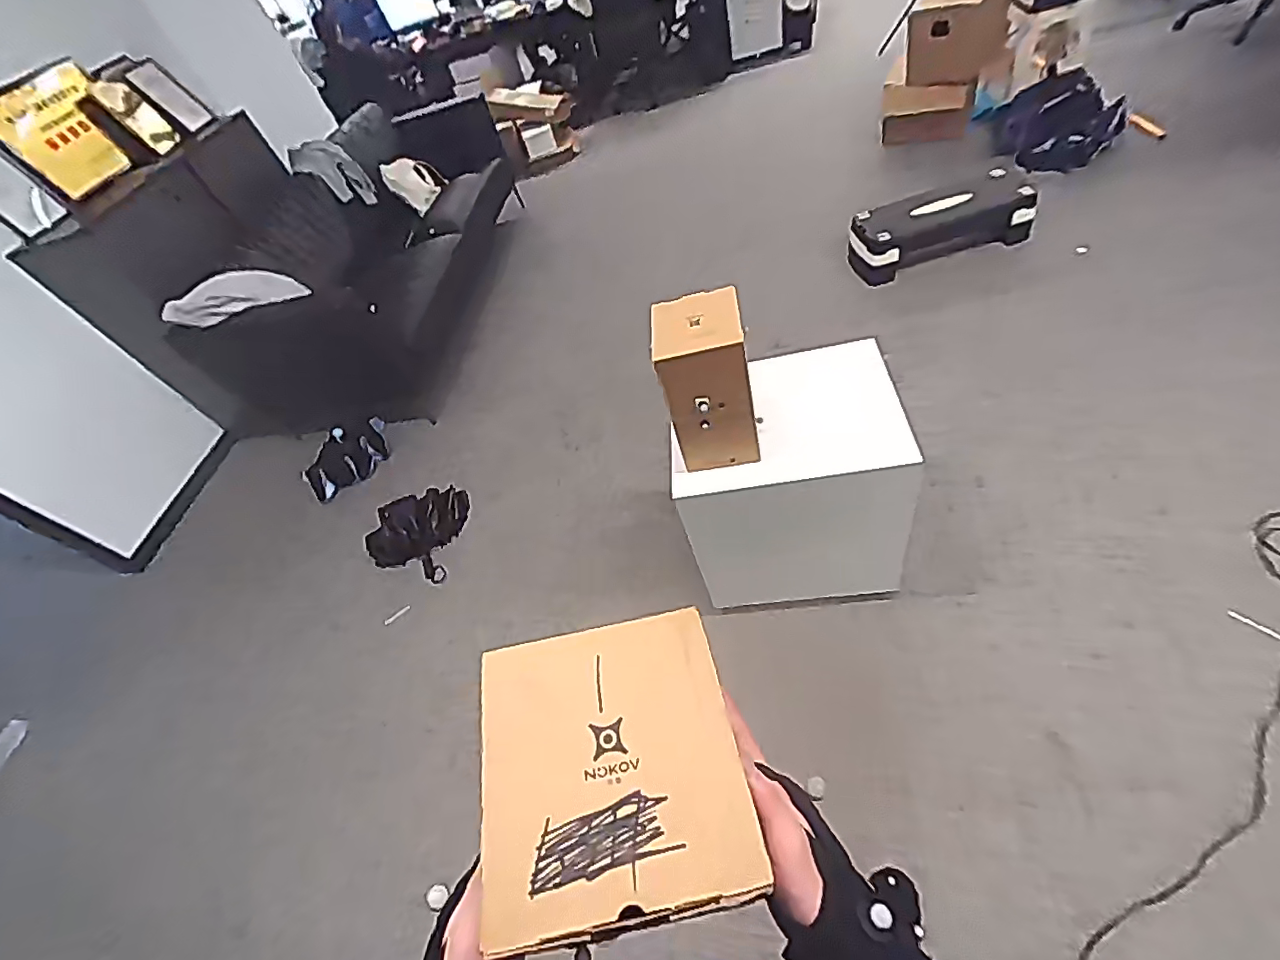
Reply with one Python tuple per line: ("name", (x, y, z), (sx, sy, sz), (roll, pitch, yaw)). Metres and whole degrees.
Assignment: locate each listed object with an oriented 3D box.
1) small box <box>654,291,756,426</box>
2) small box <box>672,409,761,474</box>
("small box", (0.126, -0.232, 1.054), (0.168, 0.176, 0.179), (-11, 50, 13))
("small box", (0.168, -0.137, 1.179), (0.168, 0.176, 0.179), (-9, 49, 13))
